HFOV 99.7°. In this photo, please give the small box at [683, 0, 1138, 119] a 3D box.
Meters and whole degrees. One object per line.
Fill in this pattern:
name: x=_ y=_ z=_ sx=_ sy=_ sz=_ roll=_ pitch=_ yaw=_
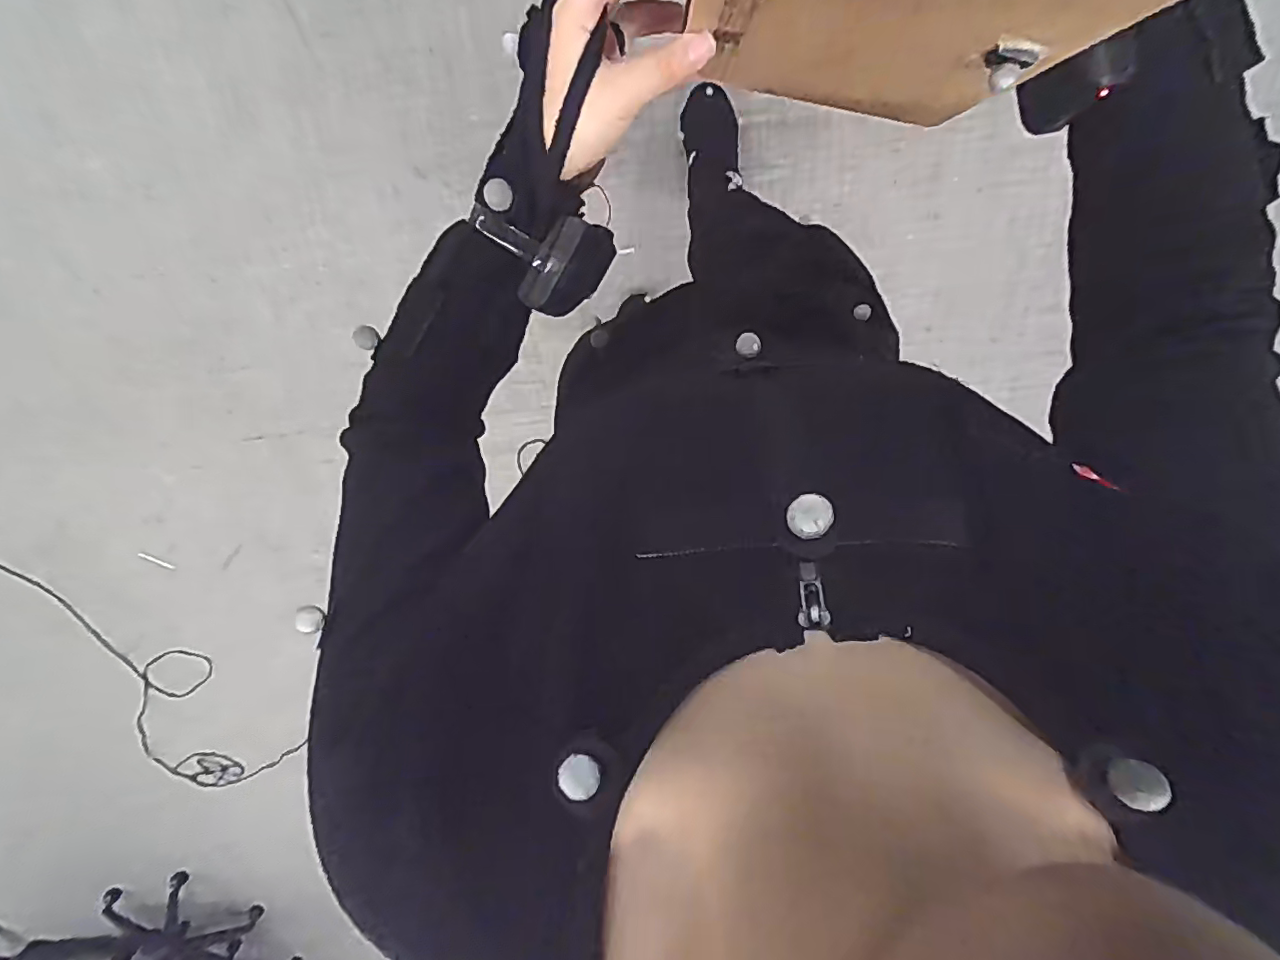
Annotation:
small box: x=0.122 y=-0.295 z=0.233 sx=0.176 sy=0.168 sz=0.179 roll=7 pitch=107 yaw=-4
